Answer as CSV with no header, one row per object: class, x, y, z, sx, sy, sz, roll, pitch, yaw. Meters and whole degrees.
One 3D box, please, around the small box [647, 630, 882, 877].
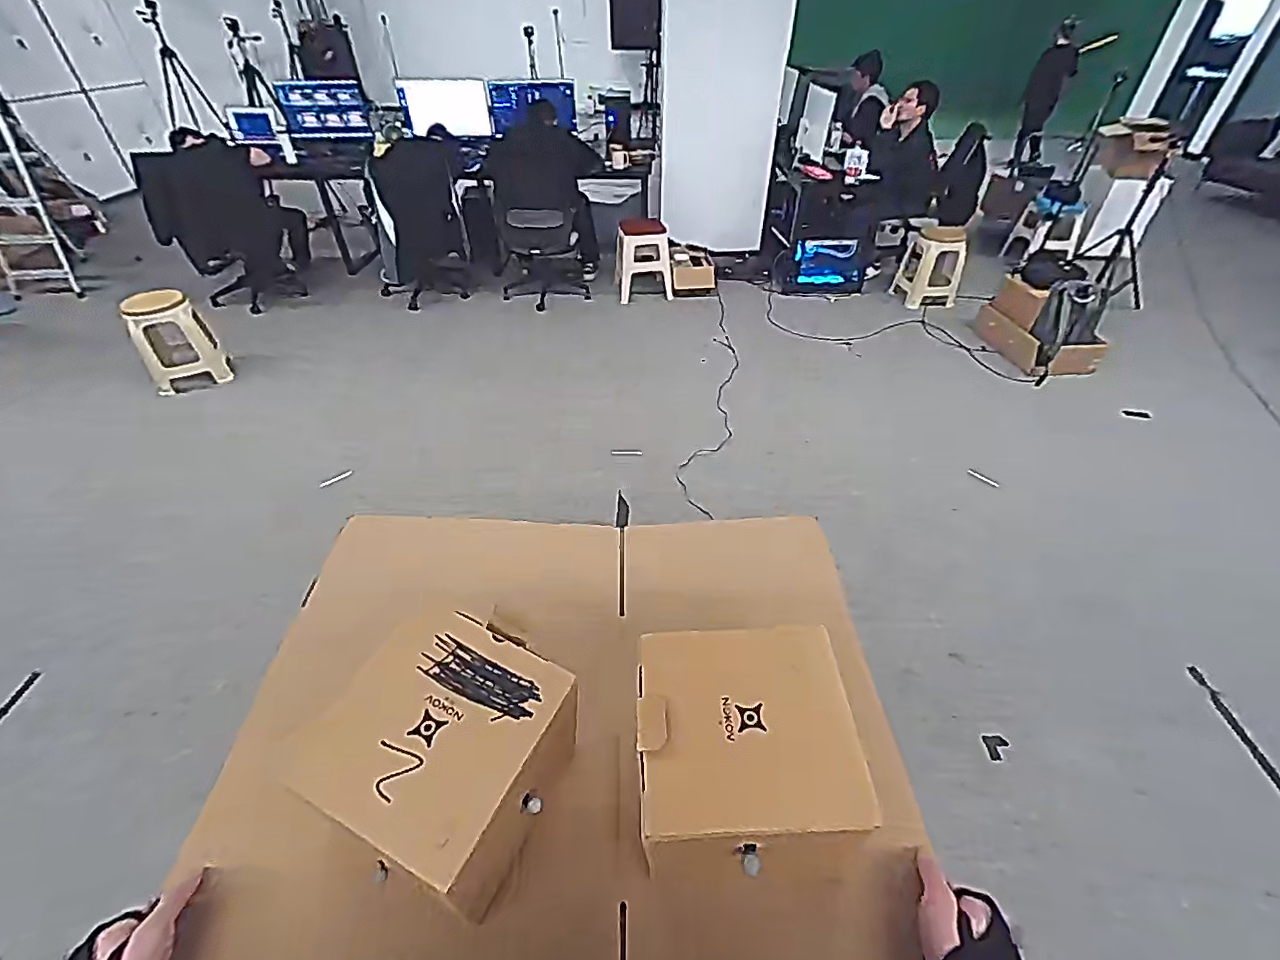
small box,0.100,0.262,0.516,0.179,0.176,0.168,-5,44,2
